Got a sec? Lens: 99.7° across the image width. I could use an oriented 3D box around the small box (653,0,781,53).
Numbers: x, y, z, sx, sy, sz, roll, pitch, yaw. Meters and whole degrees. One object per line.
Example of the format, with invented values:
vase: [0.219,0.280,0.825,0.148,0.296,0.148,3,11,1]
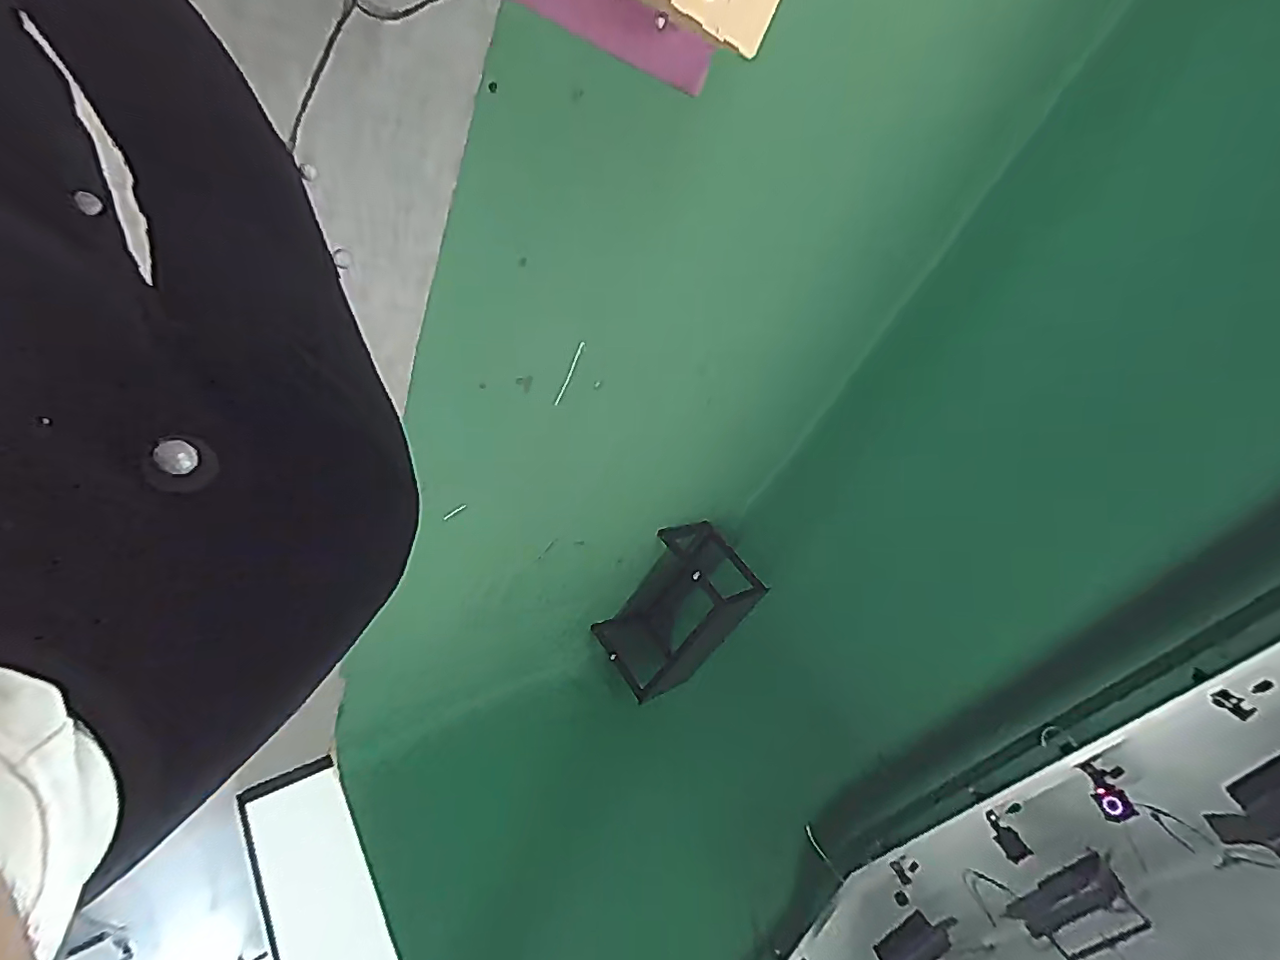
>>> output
small box: [0.086,-0.679,0.660,0.168,0.176,0.179,-8,139,-42]
